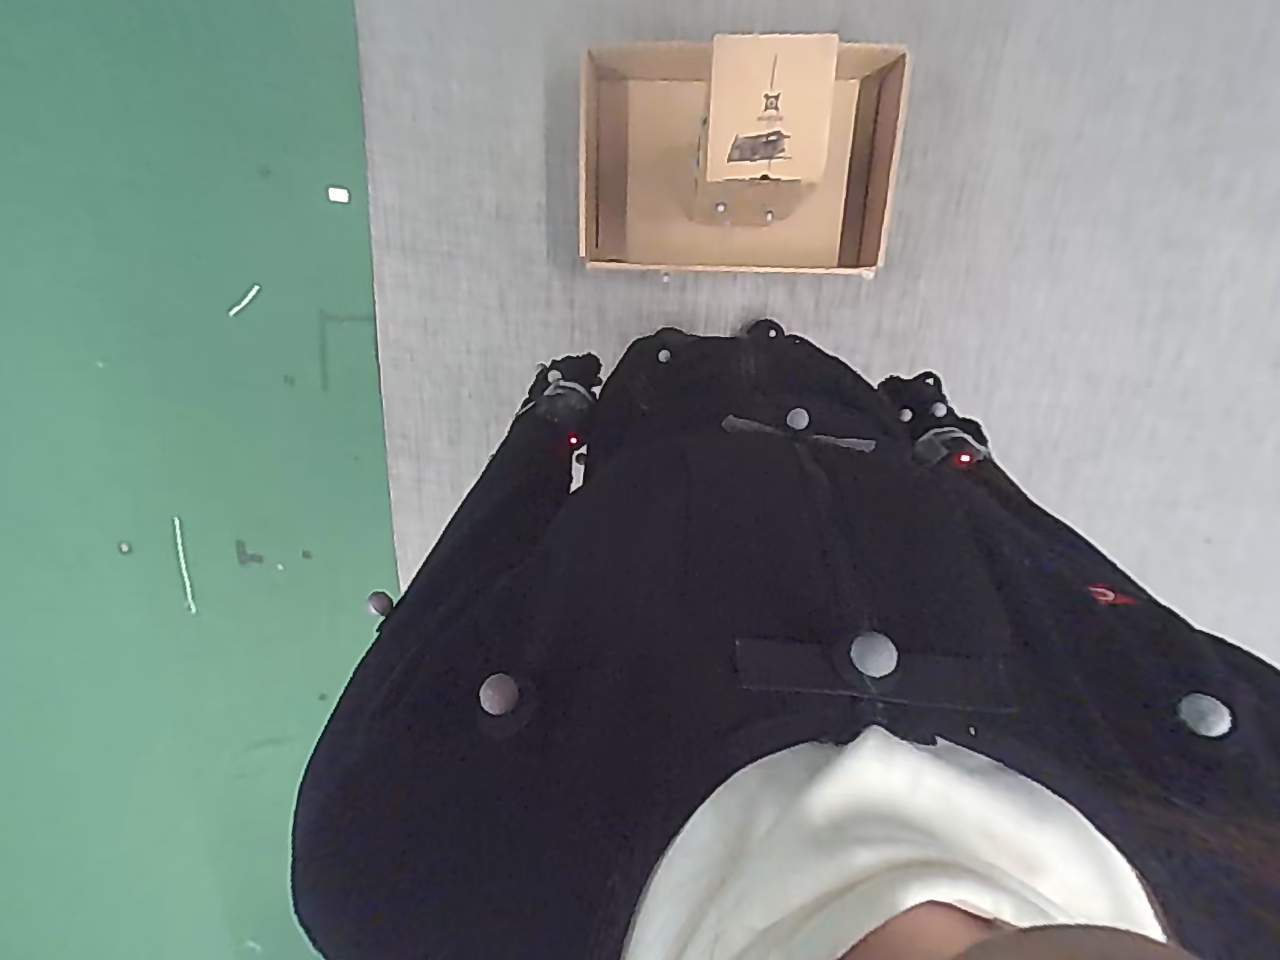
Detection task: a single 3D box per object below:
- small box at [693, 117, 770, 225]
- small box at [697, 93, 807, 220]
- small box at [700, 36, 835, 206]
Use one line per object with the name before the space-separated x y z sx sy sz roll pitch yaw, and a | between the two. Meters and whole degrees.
small box | 0.202 -0.634 1.124 0.179 0.176 0.168 1 106 4
small box | 0.193 -0.565 0.956 0.179 0.176 0.168 0 106 4
small box | 0.179 -0.524 0.814 0.168 0.176 0.179 3 105 3
